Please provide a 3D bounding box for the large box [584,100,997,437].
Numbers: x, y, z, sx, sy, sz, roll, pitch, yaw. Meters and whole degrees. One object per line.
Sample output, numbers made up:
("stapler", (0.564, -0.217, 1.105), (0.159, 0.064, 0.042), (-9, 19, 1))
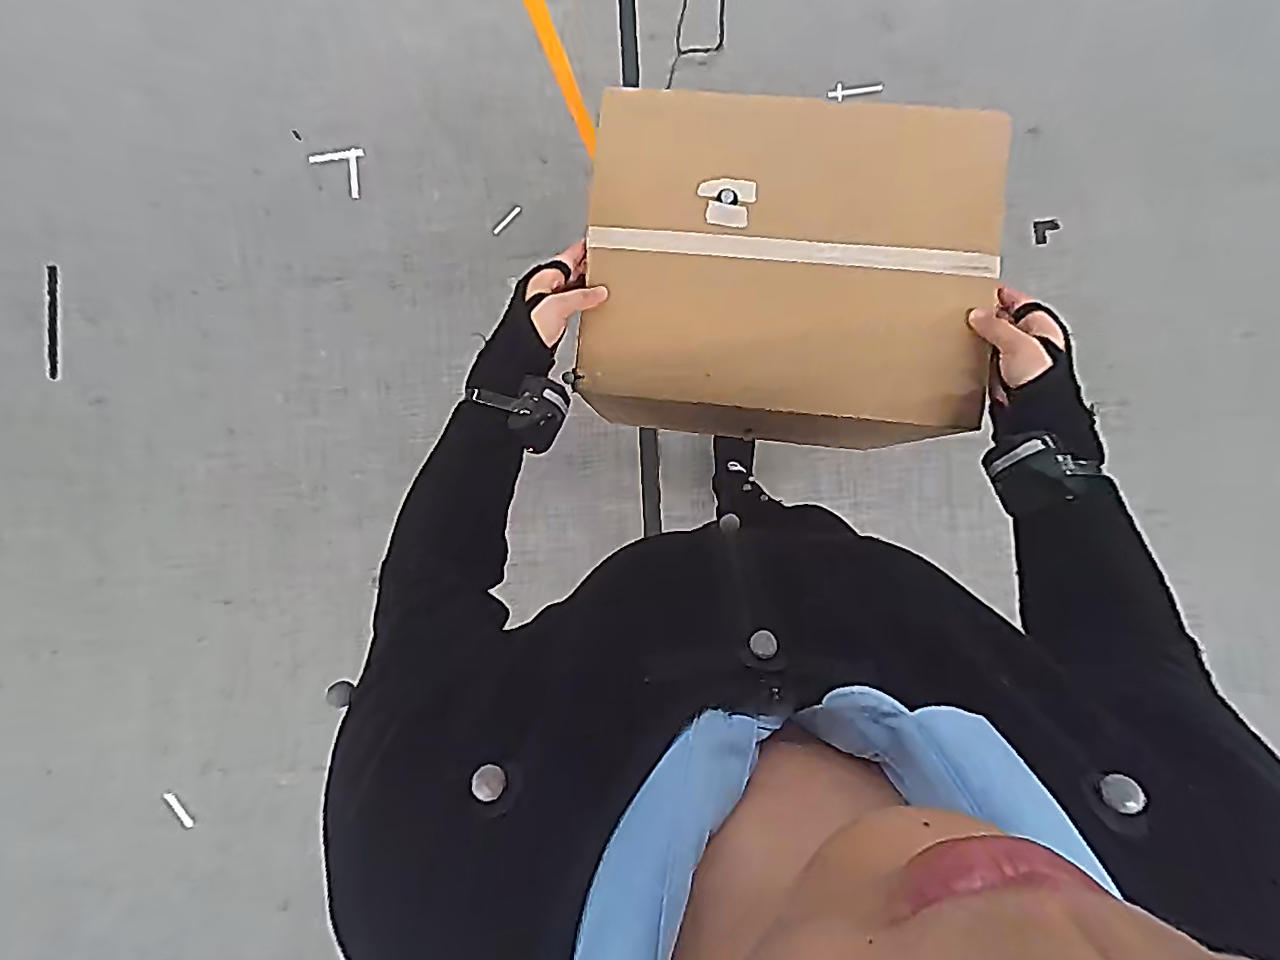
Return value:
("large box", (0.160, -0.231, 0.701), (0.408, 0.320, 0.320), (5, 89, 4))
